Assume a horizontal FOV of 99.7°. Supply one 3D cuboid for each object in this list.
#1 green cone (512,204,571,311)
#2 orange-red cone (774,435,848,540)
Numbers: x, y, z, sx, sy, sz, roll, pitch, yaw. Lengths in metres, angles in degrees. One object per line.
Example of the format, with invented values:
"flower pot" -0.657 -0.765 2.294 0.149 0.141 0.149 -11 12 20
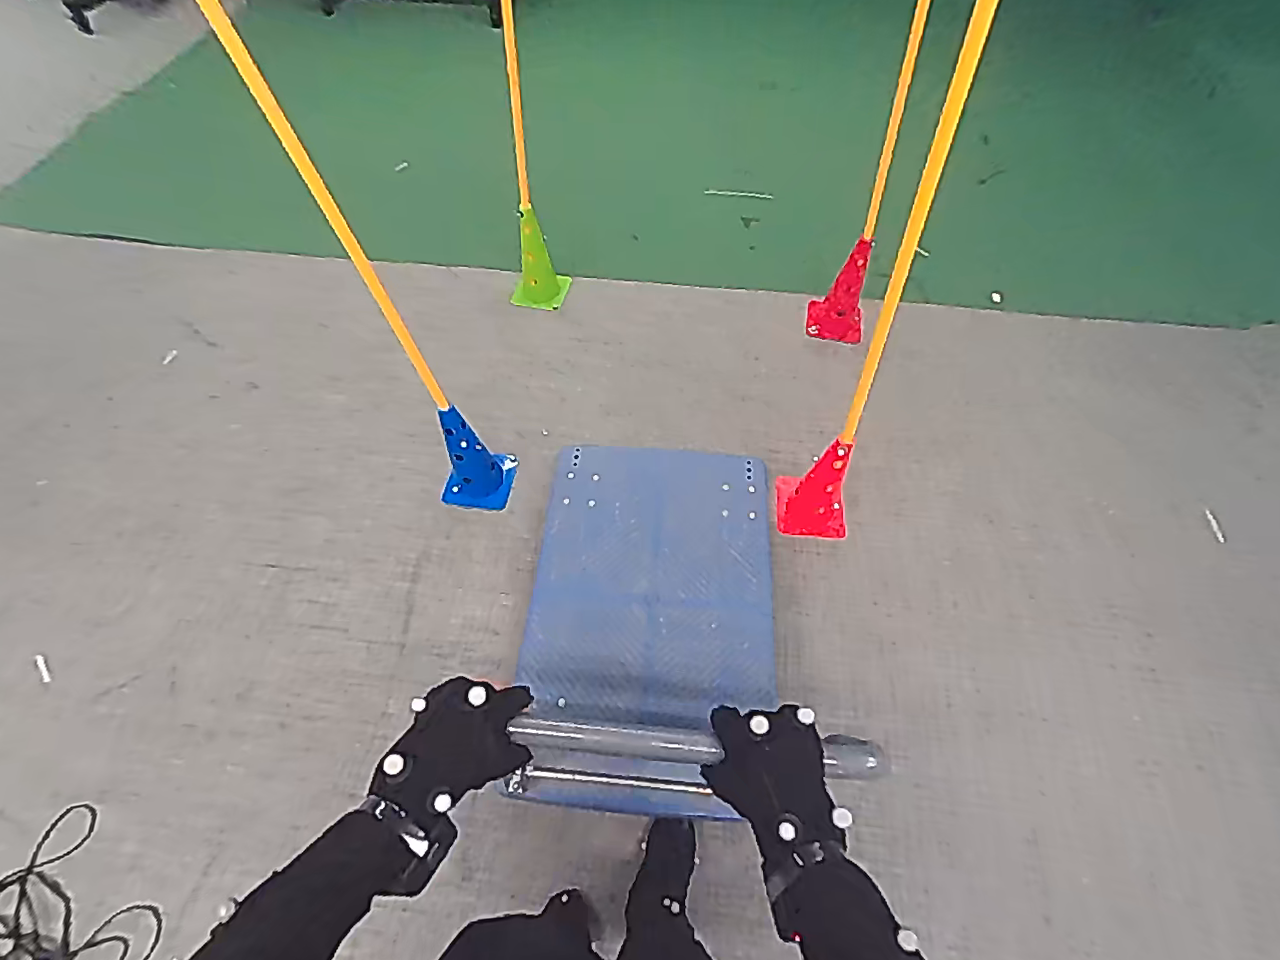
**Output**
"green cone" -0.389 -0.837 1.994 0.202 0.368 0.200 10 59 7
"orange-red cone" 0.502 -0.003 1.492 0.199 0.360 0.198 5 58 5
